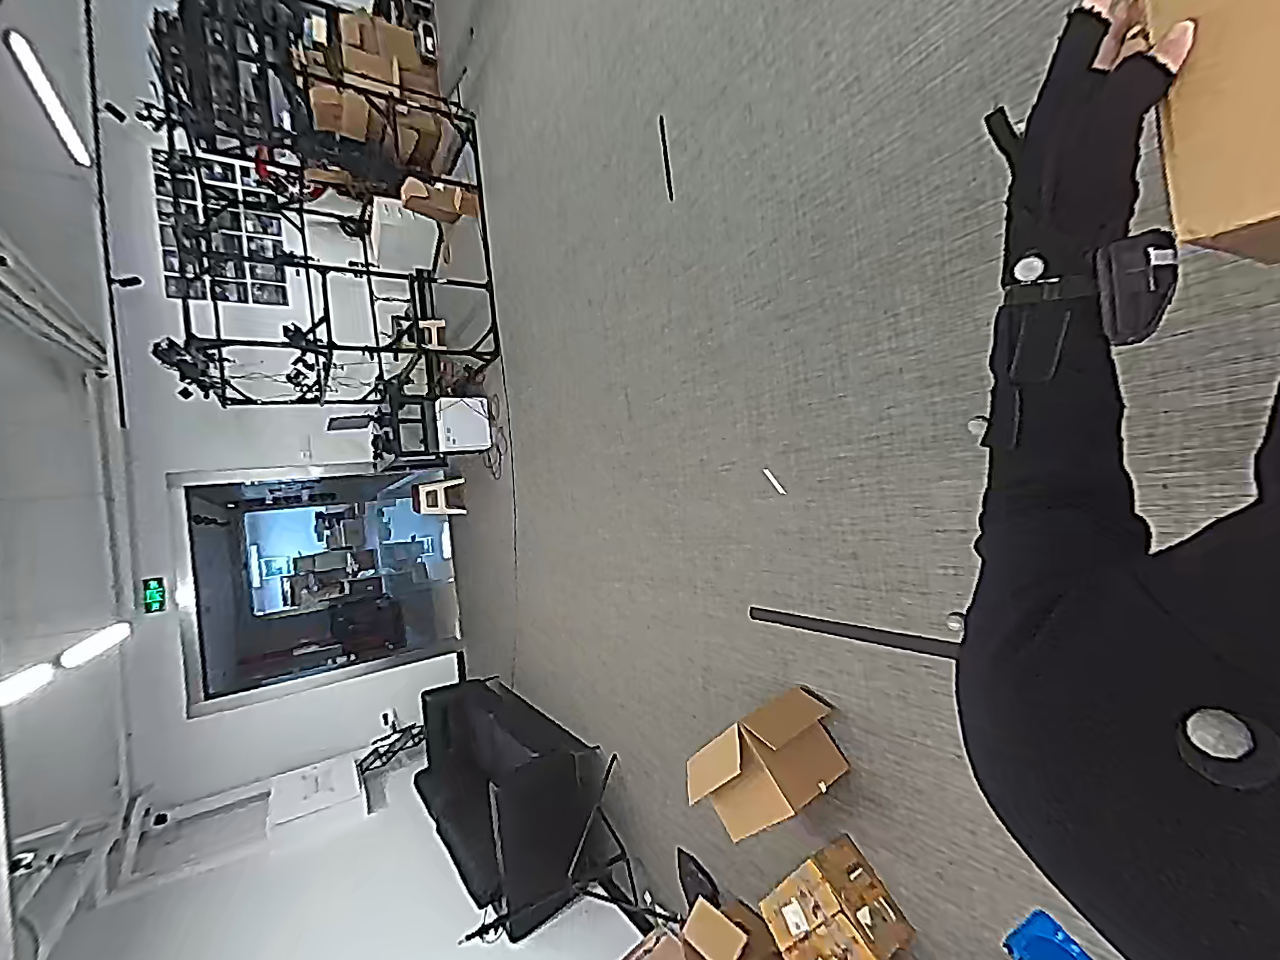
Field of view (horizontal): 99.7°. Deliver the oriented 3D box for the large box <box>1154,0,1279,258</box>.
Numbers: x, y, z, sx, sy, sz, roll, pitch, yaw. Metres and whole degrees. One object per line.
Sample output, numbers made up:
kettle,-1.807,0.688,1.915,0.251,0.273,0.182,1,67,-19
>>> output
large box,0.523,-0.334,0.234,0.408,0.320,0.320,-6,96,55
